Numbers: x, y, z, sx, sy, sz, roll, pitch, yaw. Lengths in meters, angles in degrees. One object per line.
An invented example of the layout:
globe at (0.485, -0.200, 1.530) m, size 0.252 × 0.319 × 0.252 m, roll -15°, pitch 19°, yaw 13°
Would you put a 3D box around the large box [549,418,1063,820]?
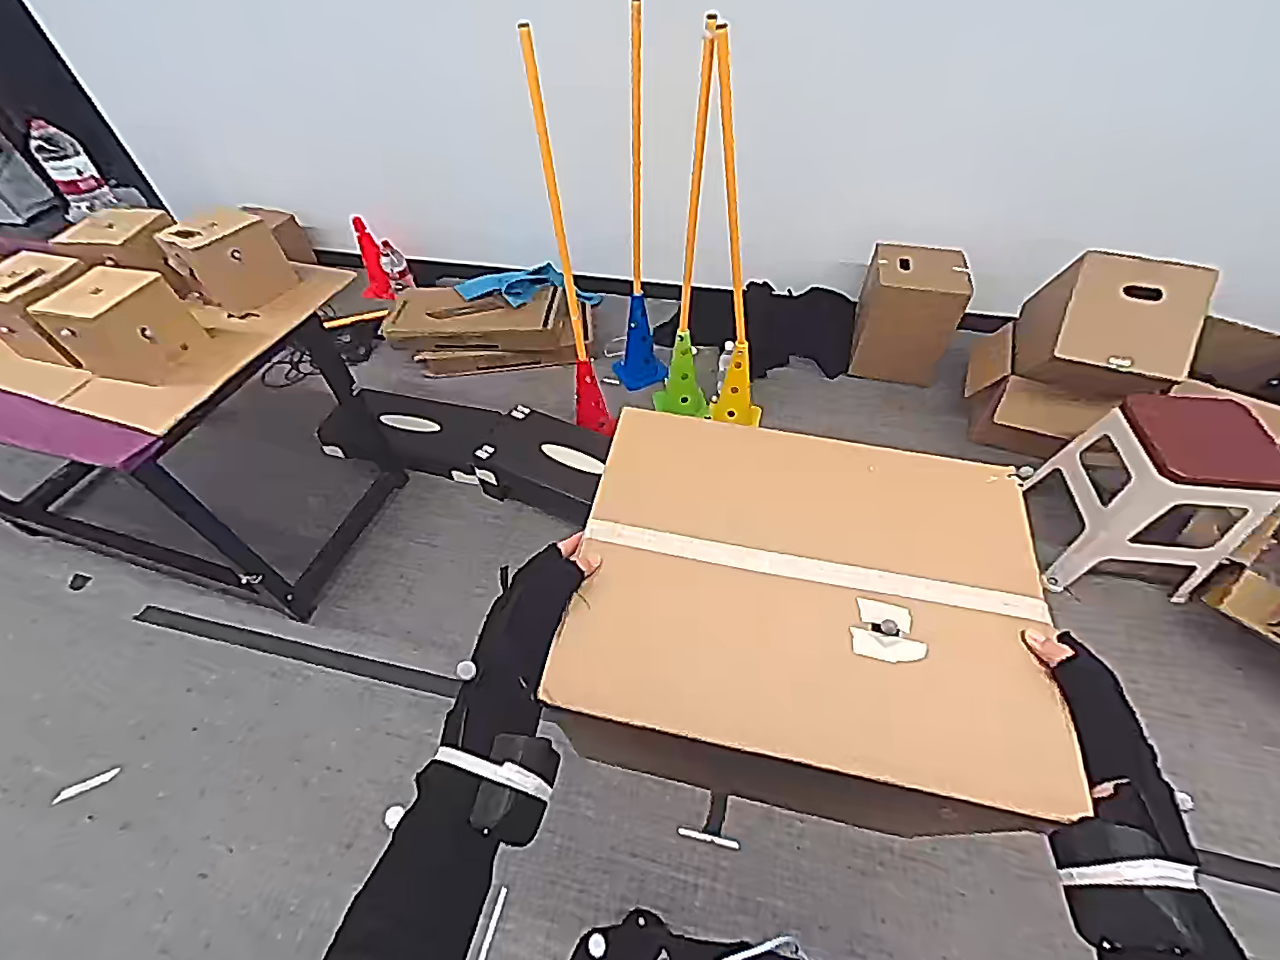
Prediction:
large box at (0.144, 0.167, 0.620) m, size 0.408 × 0.320 × 0.320 m, roll 10°, pitch 57°, yaw 6°
